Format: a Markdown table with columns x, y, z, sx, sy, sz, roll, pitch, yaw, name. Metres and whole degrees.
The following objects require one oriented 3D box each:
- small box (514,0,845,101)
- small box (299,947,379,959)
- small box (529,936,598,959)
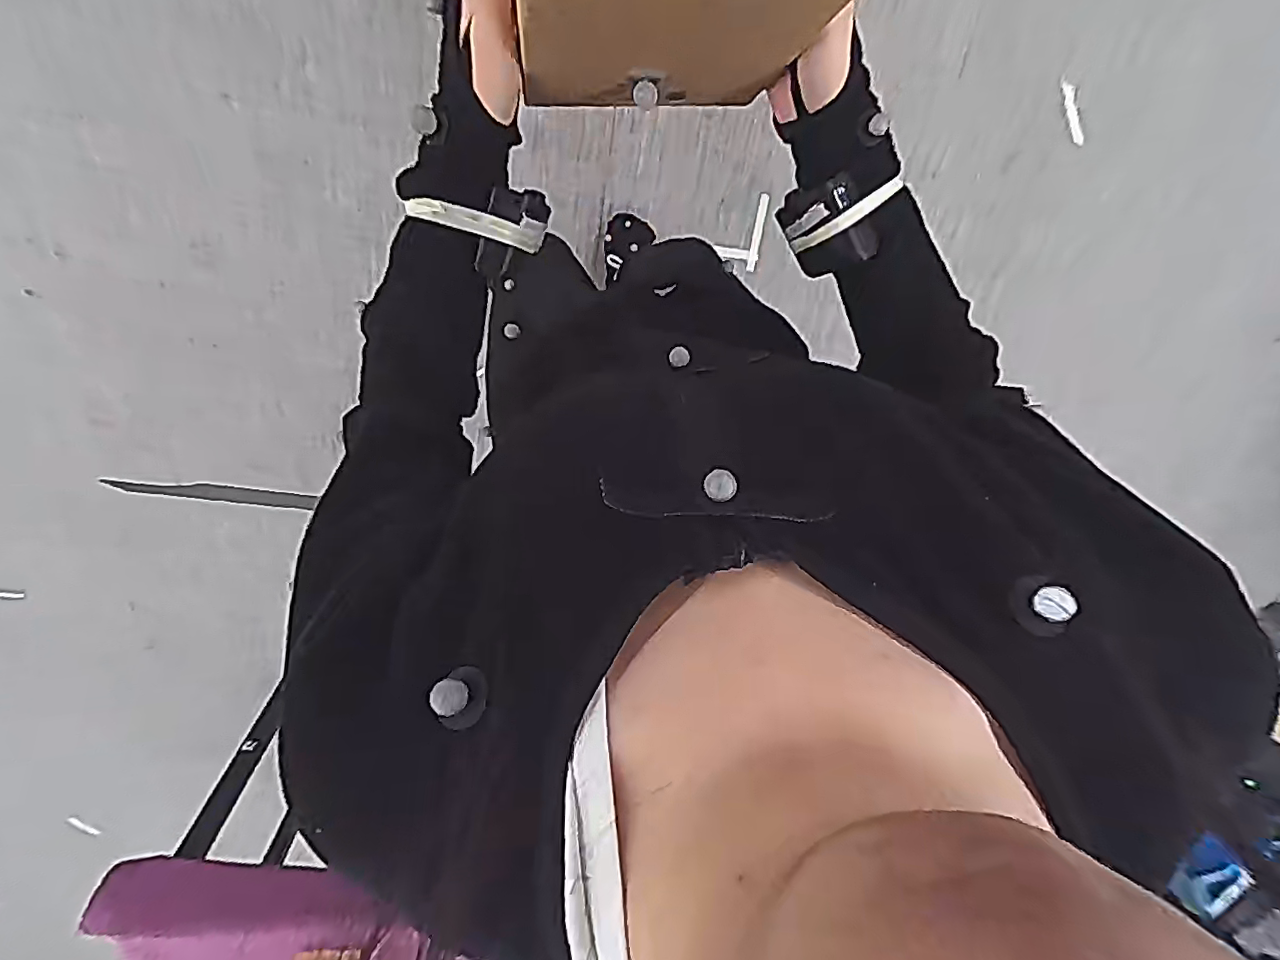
| x | y | z | sx | sy | sz | roll | pitch | yaw | name |
| --- | --- | --- | --- | --- | --- | --- | --- | --- | --- |
| 0.012 | -0.331 | 0.282 | 0.168 | 0.176 | 0.179 | -6 | 109 | -9 | small box |
| -0.698 | 1.186 | 1.213 | 0.168 | 0.176 | 0.179 | 7 | 117 | -10 | small box |
| -0.186 | 1.223 | 1.289 | 0.168 | 0.176 | 0.179 | 3 | 117 | -8 | small box |
